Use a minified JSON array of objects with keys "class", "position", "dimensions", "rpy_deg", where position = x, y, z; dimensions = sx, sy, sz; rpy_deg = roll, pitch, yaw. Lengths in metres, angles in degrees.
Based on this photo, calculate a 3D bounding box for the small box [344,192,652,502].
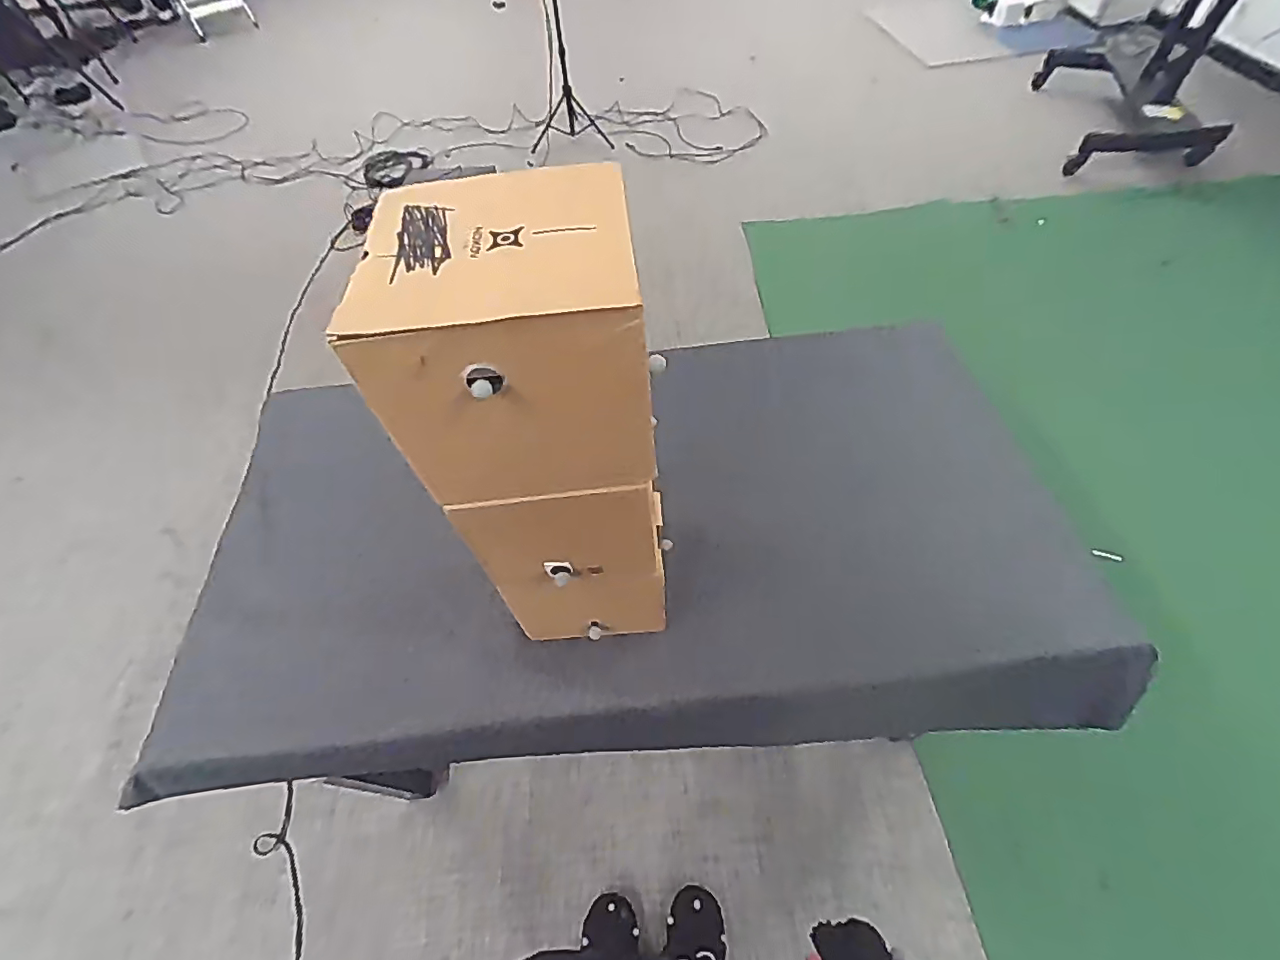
[{"class":"small box","position":[-0.088,-0.093,0.424],"dimensions":[0.179,0.176,0.168],"rpy_deg":[-6,55,0]}]

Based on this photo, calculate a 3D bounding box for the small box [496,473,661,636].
[{"class":"small box","position":[-0.068,0.086,0.677],"dimensions":[0.179,0.176,0.168],"rpy_deg":[-4,55,-1]}]

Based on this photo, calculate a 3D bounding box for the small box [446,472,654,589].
[{"class":"small box","position":[-0.078,-0.010,0.546],"dimensions":[0.168,0.176,0.179],"rpy_deg":[-7,56,0]}]
